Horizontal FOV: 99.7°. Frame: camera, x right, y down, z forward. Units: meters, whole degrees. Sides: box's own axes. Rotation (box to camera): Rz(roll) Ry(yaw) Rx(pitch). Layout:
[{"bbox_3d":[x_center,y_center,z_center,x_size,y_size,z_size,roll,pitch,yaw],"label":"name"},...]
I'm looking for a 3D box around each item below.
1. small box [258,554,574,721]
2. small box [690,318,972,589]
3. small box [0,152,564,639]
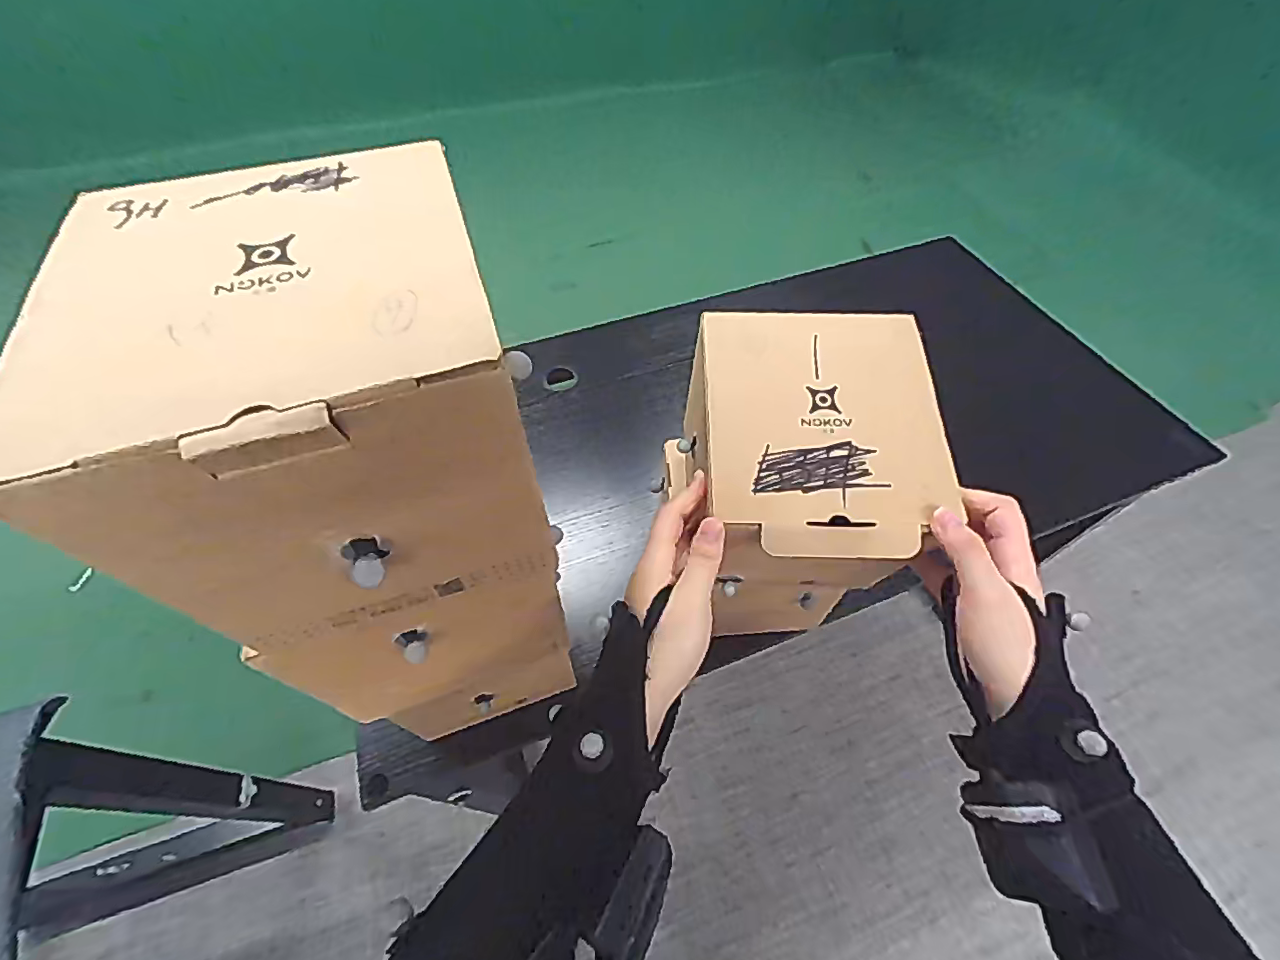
[{"bbox_3d":[-0.155,0.063,0.419,0.179,0.176,0.168,-17,57,-12],"label":"small box"},{"bbox_3d":[0.132,-0.011,0.452,0.168,0.176,0.179,1,64,0],"label":"small box"},{"bbox_3d":[-0.145,-0.033,0.285,0.168,0.176,0.179,-16,58,-11],"label":"small box"}]
